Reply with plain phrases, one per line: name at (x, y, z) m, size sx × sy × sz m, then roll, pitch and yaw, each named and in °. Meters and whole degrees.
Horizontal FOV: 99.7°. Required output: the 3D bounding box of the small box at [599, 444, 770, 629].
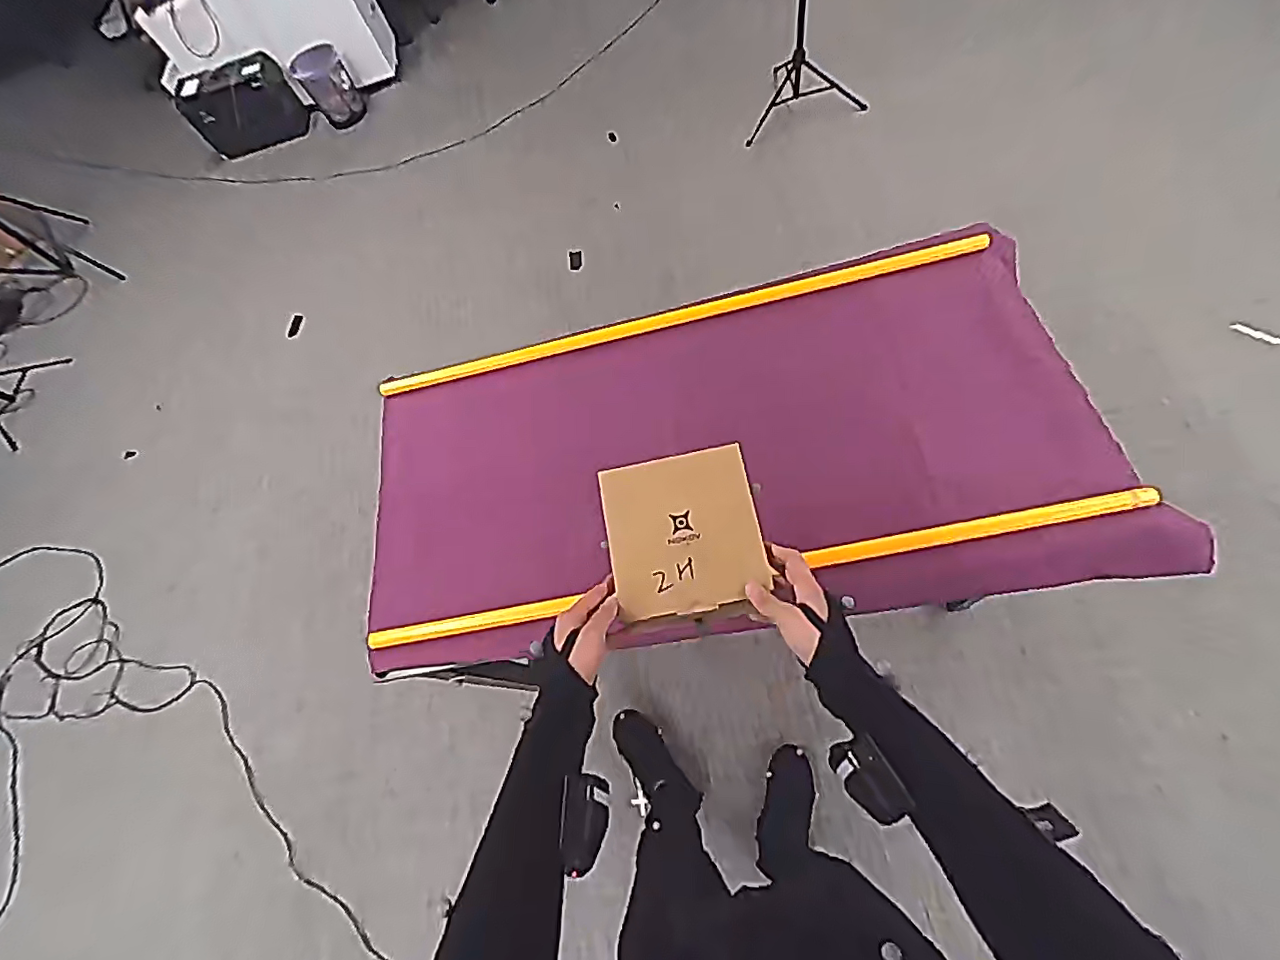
small box at (0.053, 0.078, 0.665) m, size 0.168 × 0.176 × 0.179 m, roll -11°, pitch 71°, yaw 5°
